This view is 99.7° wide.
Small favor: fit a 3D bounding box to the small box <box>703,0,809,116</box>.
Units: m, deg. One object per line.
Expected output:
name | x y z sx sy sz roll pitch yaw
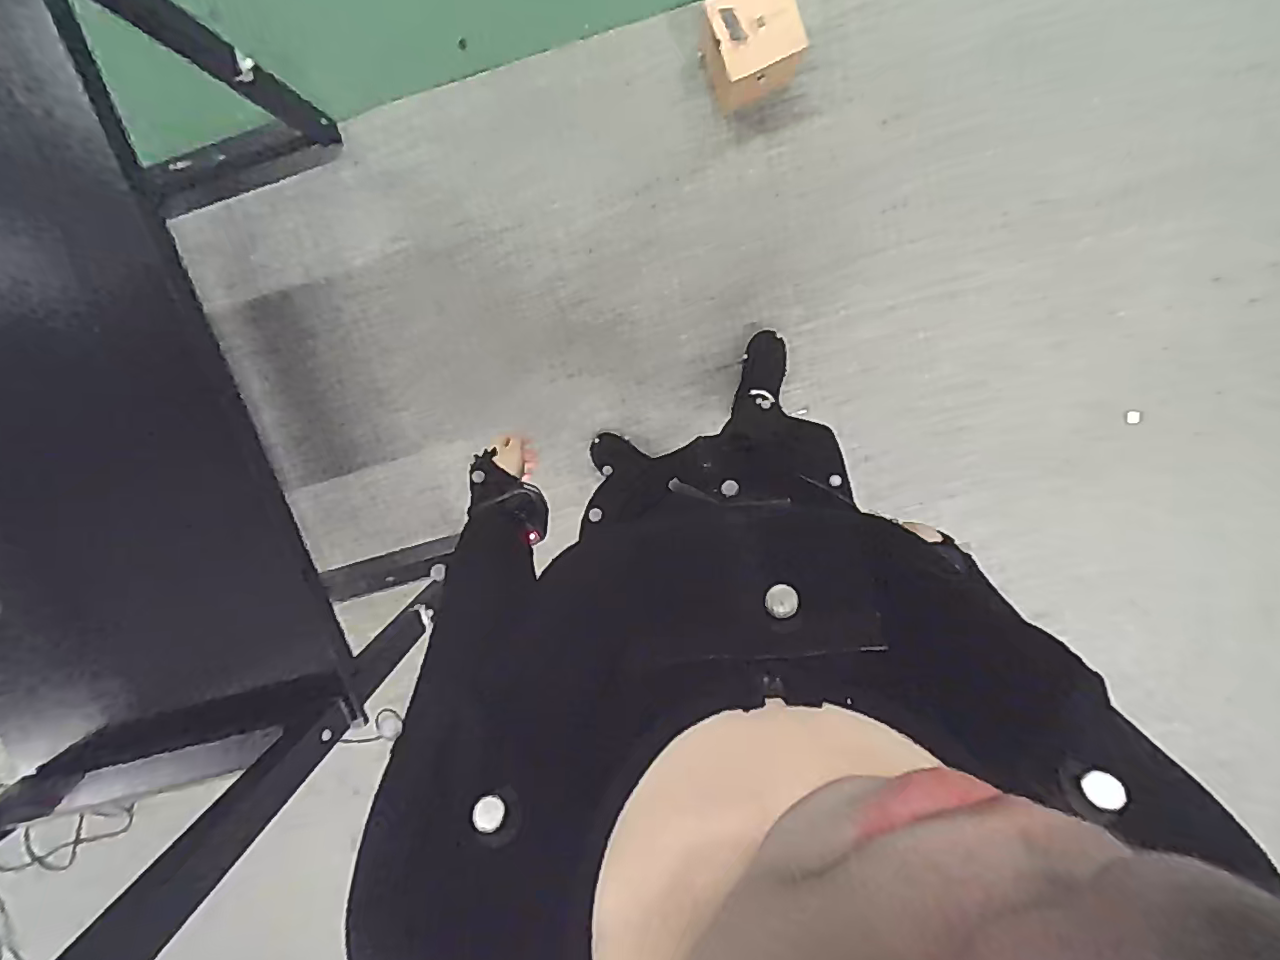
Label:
small box | 0.245 -0.948 1.189 0.179 0.176 0.168 -22 101 6
